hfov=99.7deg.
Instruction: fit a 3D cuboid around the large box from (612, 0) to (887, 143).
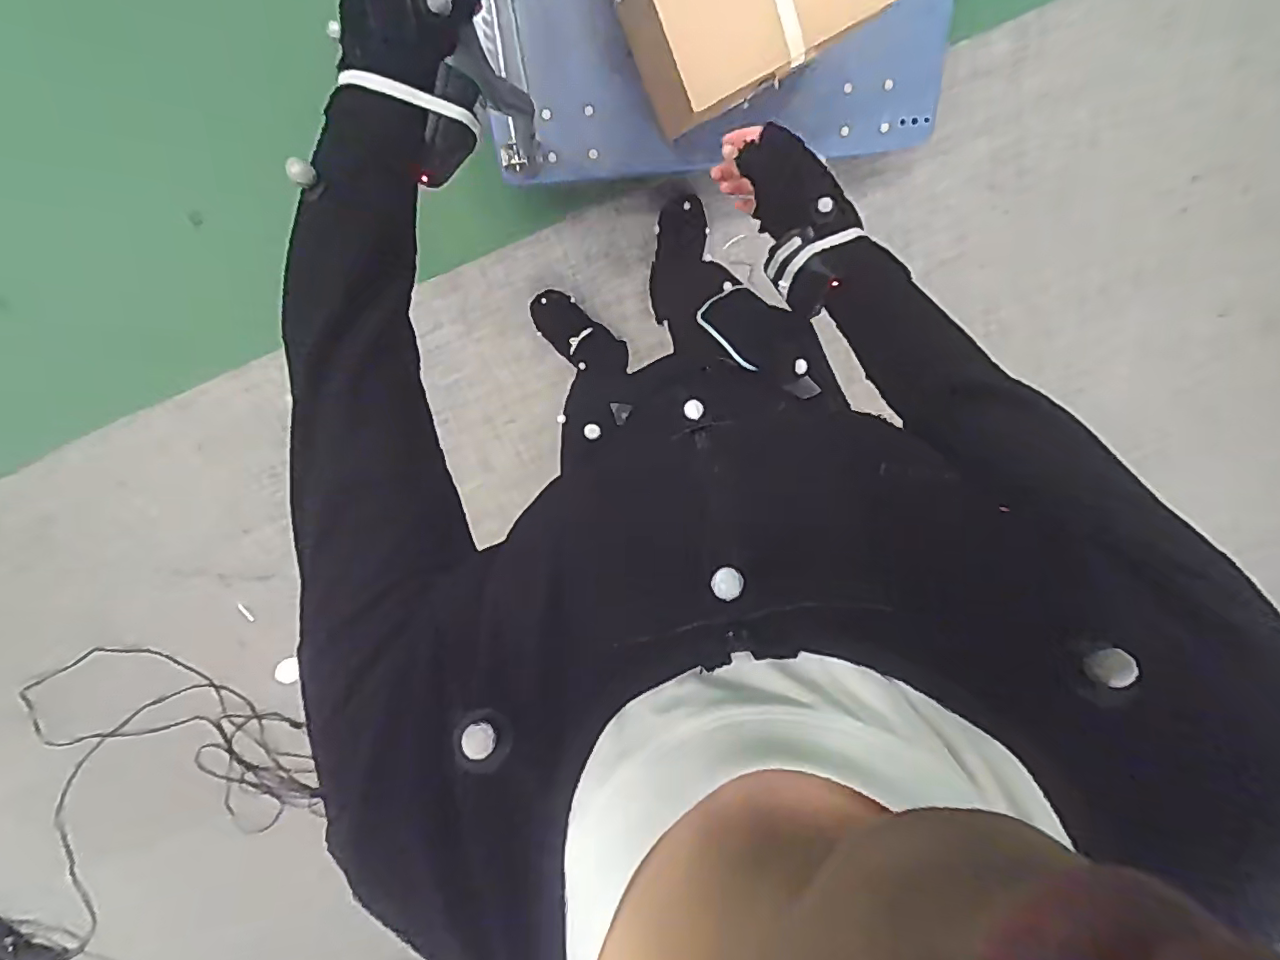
[{"bbox_3d":[0.114,-0.814,0.822,0.320,0.320,0.408,-26,114,7],"label":"large box"}]
